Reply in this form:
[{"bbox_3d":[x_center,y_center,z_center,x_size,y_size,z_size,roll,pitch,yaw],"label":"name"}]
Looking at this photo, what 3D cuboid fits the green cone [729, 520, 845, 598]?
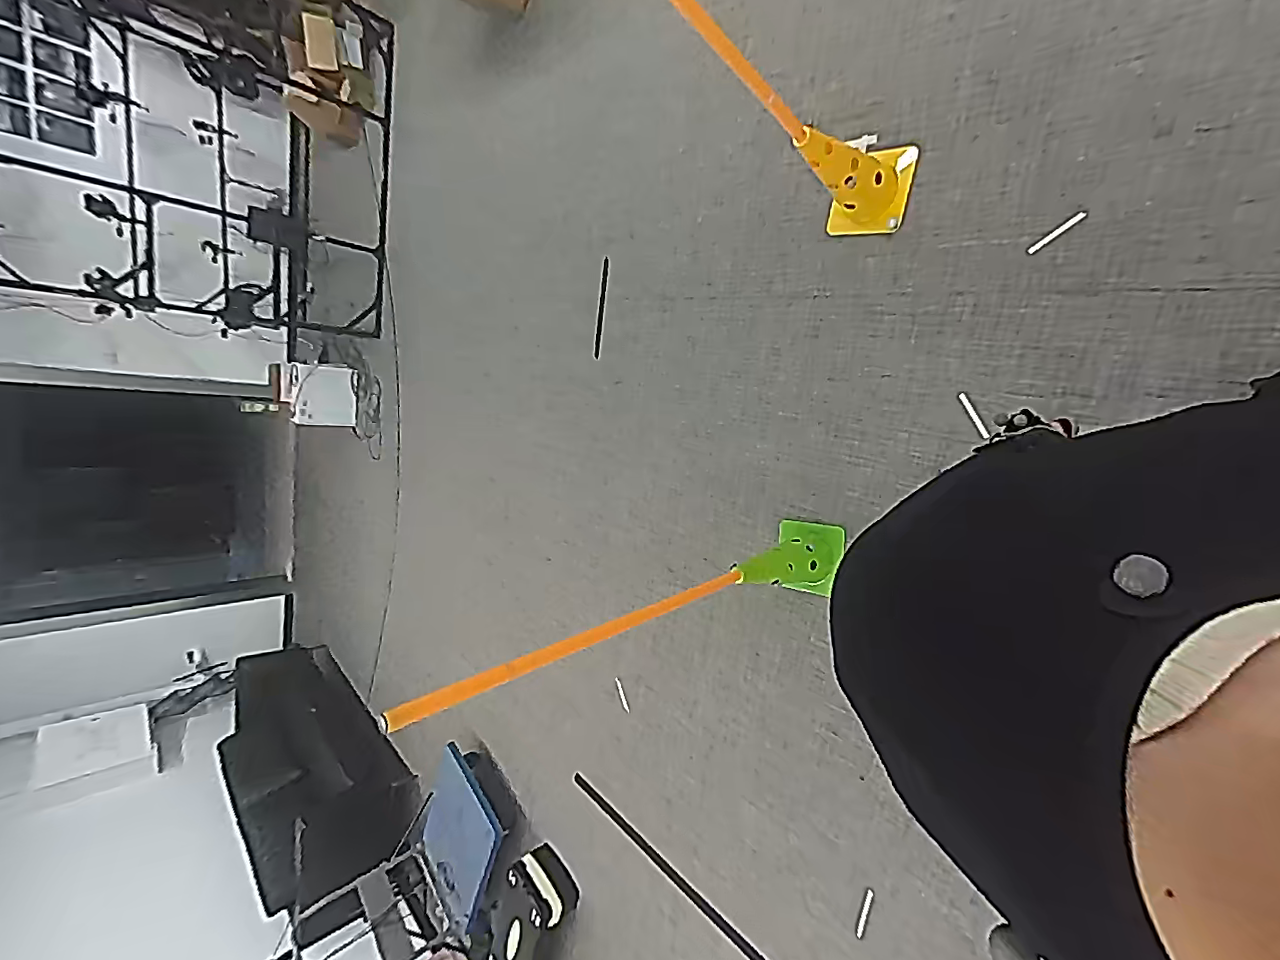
[{"bbox_3d":[0.357,0.220,1.407,0.200,0.368,0.202,4,93,45],"label":"green cone"}]
